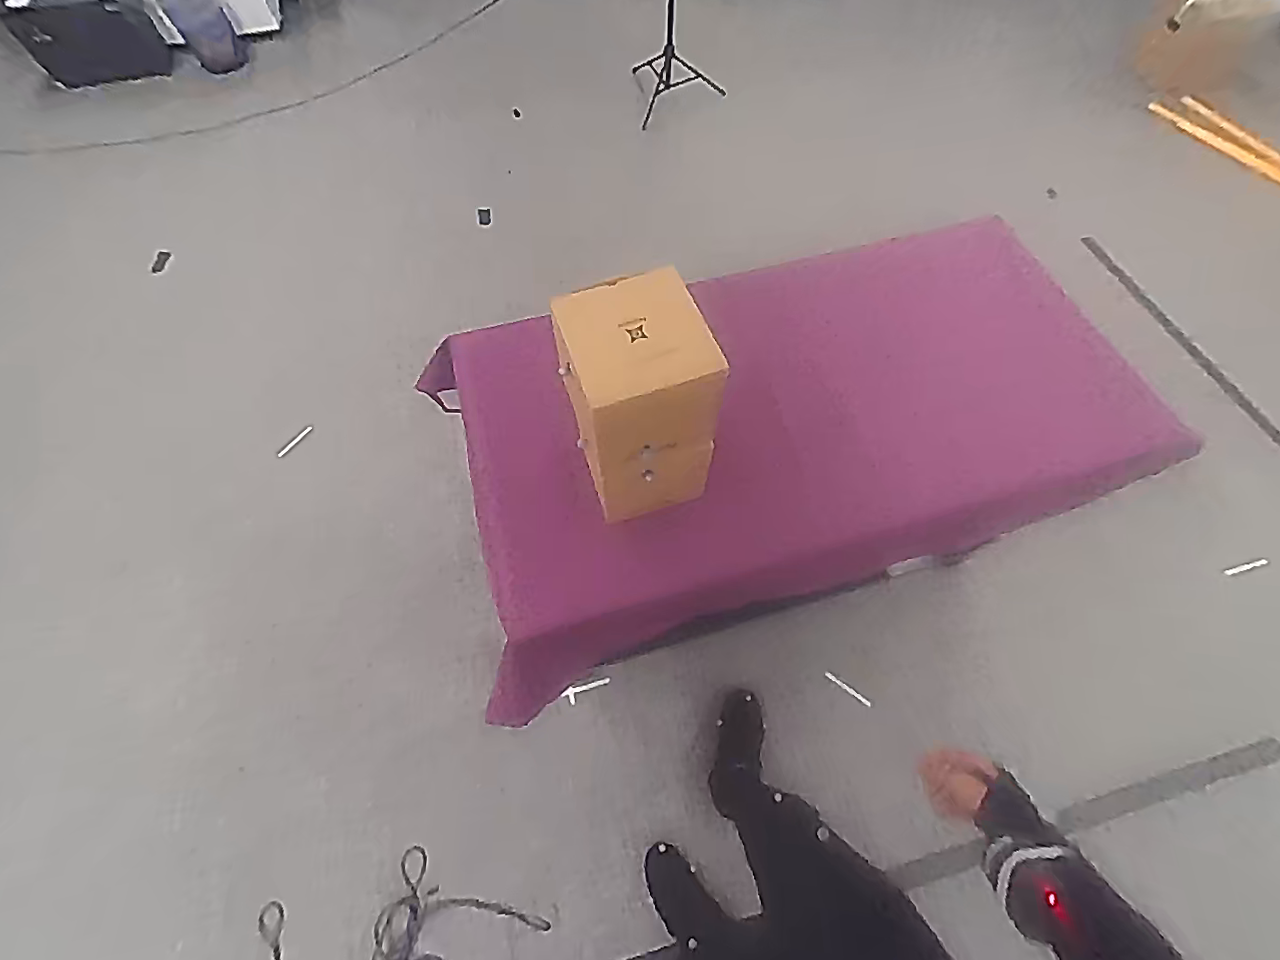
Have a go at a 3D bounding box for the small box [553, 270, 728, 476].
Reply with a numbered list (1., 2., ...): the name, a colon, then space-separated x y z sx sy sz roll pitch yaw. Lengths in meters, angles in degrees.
1. small box: -0.004 -0.133 0.702 0.168 0.176 0.179 -18 65 -8

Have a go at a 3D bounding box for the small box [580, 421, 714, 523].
1. small box: 0.002 -0.059 0.848 0.168 0.176 0.179 -17 64 -8
